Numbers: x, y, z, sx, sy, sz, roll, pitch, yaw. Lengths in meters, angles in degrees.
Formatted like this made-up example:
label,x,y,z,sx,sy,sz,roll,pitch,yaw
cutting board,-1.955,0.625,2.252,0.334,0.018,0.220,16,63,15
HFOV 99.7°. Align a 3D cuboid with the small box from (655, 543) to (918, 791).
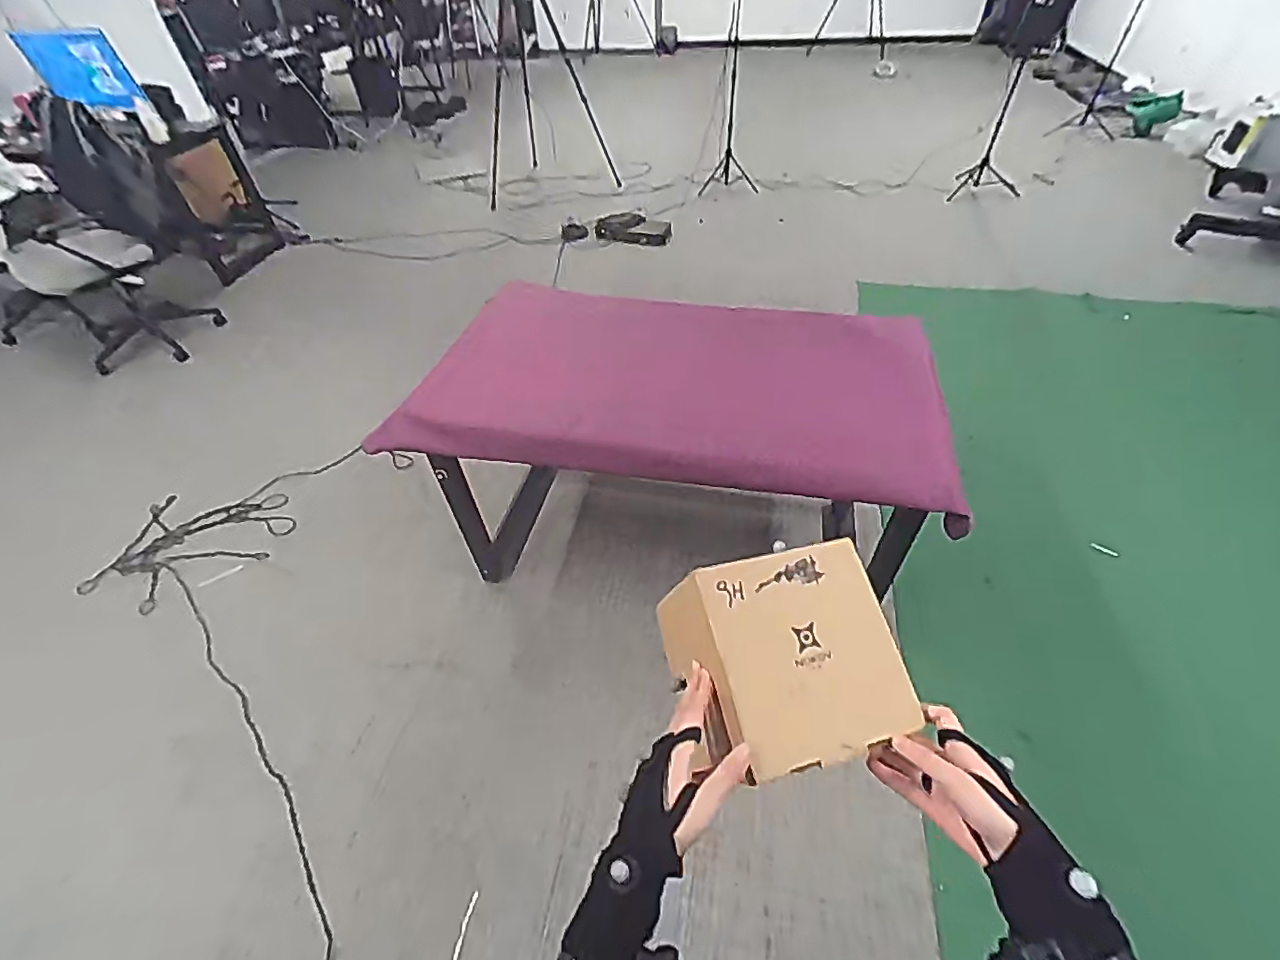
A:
label,x,y,z,sx,sy,sz,roll,pitch,yaw
small box,0.125,0.180,0.536,0.168,0.176,0.179,-9,69,-15
